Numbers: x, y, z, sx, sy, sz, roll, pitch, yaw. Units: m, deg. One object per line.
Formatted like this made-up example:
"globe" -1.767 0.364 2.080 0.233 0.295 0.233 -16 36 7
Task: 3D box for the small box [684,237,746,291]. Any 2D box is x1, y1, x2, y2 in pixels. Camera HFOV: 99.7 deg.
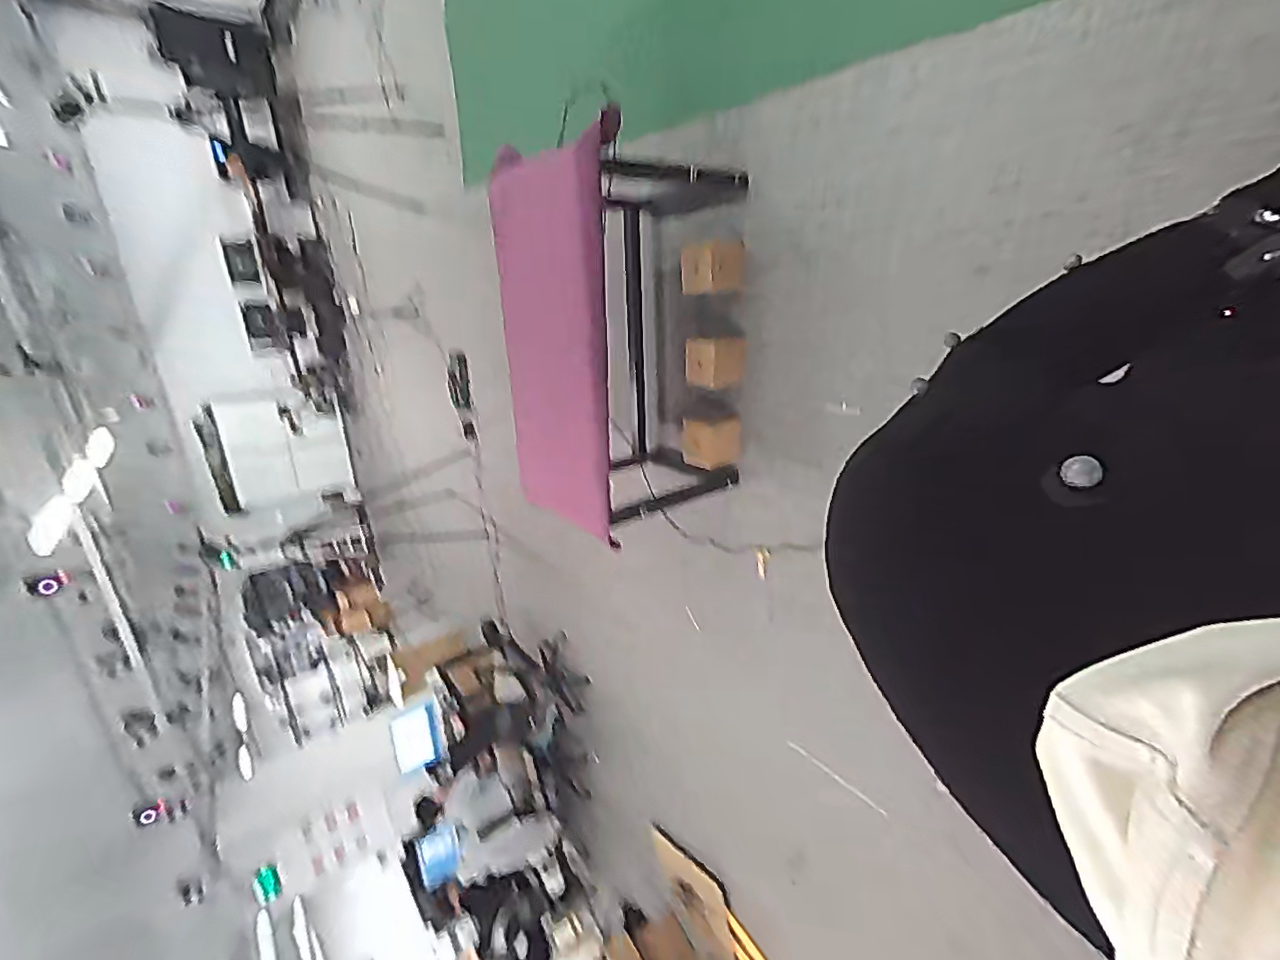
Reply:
"small box" 0.283 -0.813 2.039 0.168 0.176 0.179 19 118 50

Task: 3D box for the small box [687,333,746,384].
"small box" 0.304 -0.486 2.141 0.168 0.176 0.179 25 123 49

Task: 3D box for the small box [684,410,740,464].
"small box" 0.302 -0.184 2.262 0.168 0.176 0.179 23 120 49
